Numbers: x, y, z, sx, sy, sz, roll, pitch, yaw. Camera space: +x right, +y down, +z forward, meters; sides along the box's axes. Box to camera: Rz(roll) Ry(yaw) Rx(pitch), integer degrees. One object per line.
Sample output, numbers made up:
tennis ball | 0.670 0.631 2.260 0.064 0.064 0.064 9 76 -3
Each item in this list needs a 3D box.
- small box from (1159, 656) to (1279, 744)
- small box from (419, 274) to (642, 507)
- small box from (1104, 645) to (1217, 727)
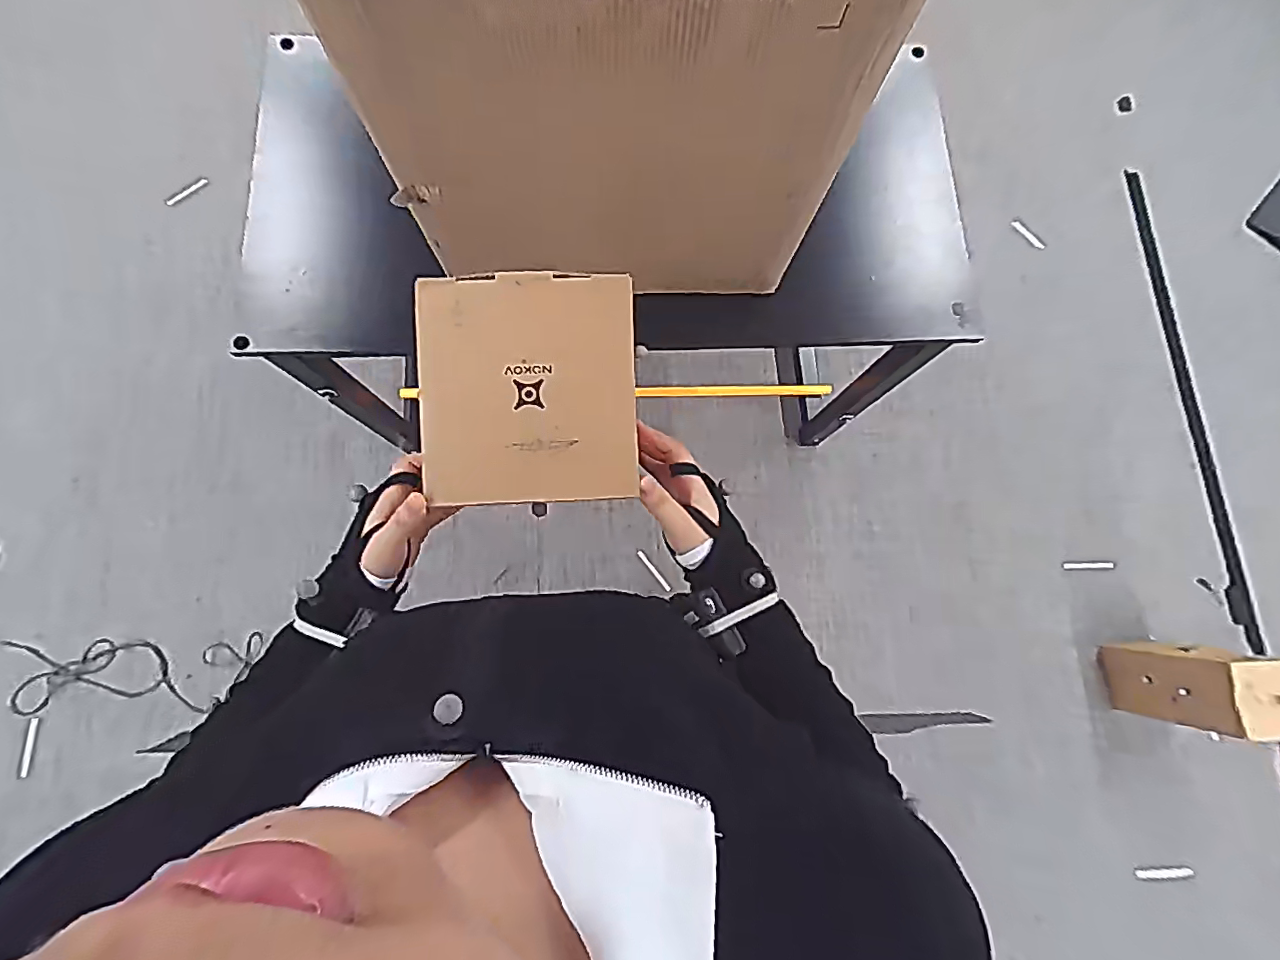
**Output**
small box | 1.394 0.509 1.270 0.179 0.176 0.168 -1 78 -2
small box | -0.087 -0.066 0.484 0.168 0.176 0.179 -2 90 -3
small box | 1.386 0.537 1.432 0.168 0.176 0.179 -4 79 -3
